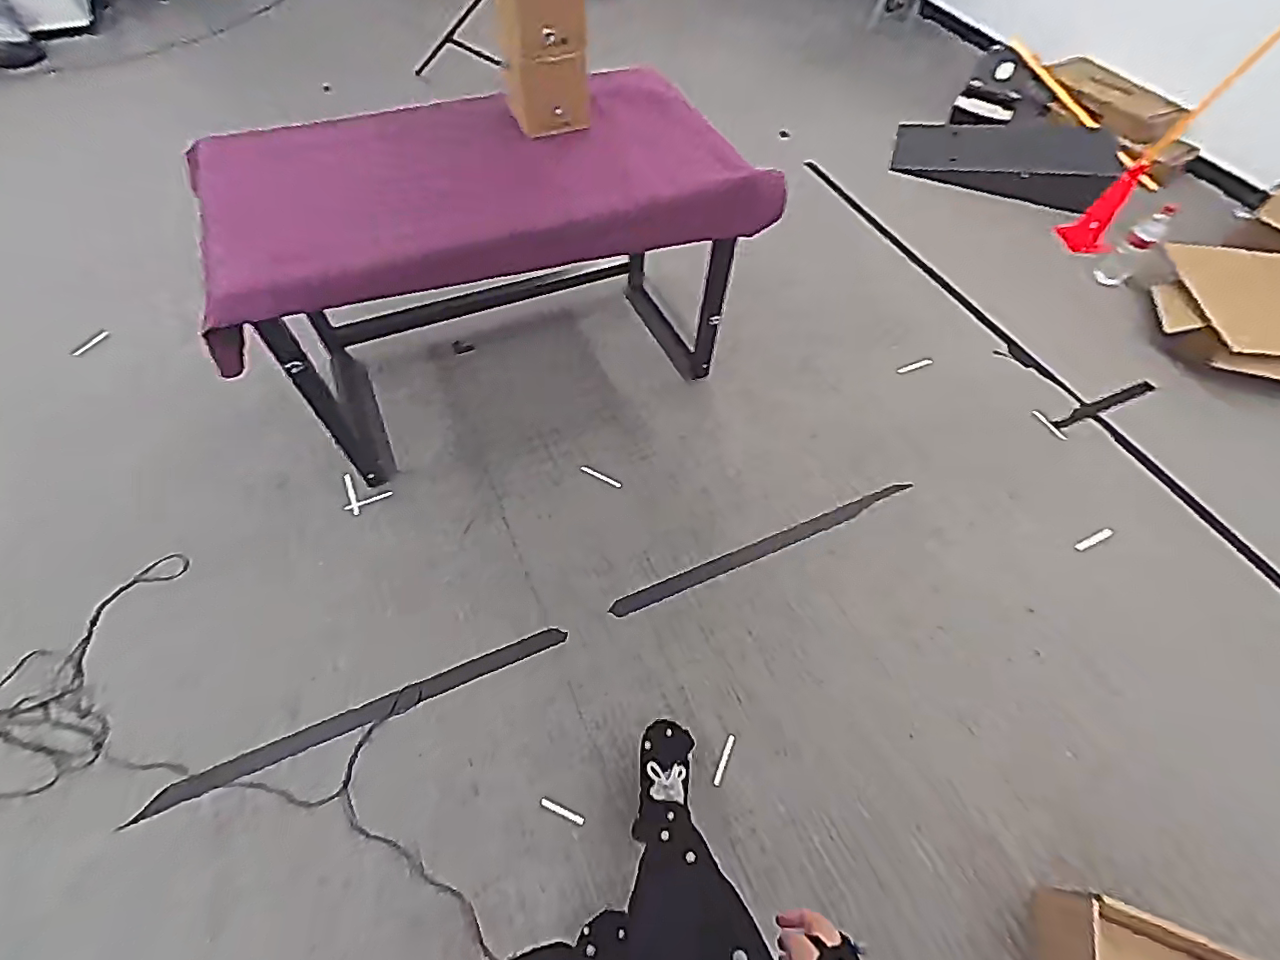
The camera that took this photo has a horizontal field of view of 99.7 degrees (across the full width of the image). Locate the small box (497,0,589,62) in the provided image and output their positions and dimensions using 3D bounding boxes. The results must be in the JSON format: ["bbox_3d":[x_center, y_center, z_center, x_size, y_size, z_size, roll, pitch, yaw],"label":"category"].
[{"bbox_3d":[-0.224,-1.086,1.221,0.168,0.176,0.179,-23,64,-15],"label":"small box"}]

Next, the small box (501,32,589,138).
[{"bbox_3d":[-0.235,-0.996,1.356,0.168,0.176,0.179,-20,63,-14],"label":"small box"}]
